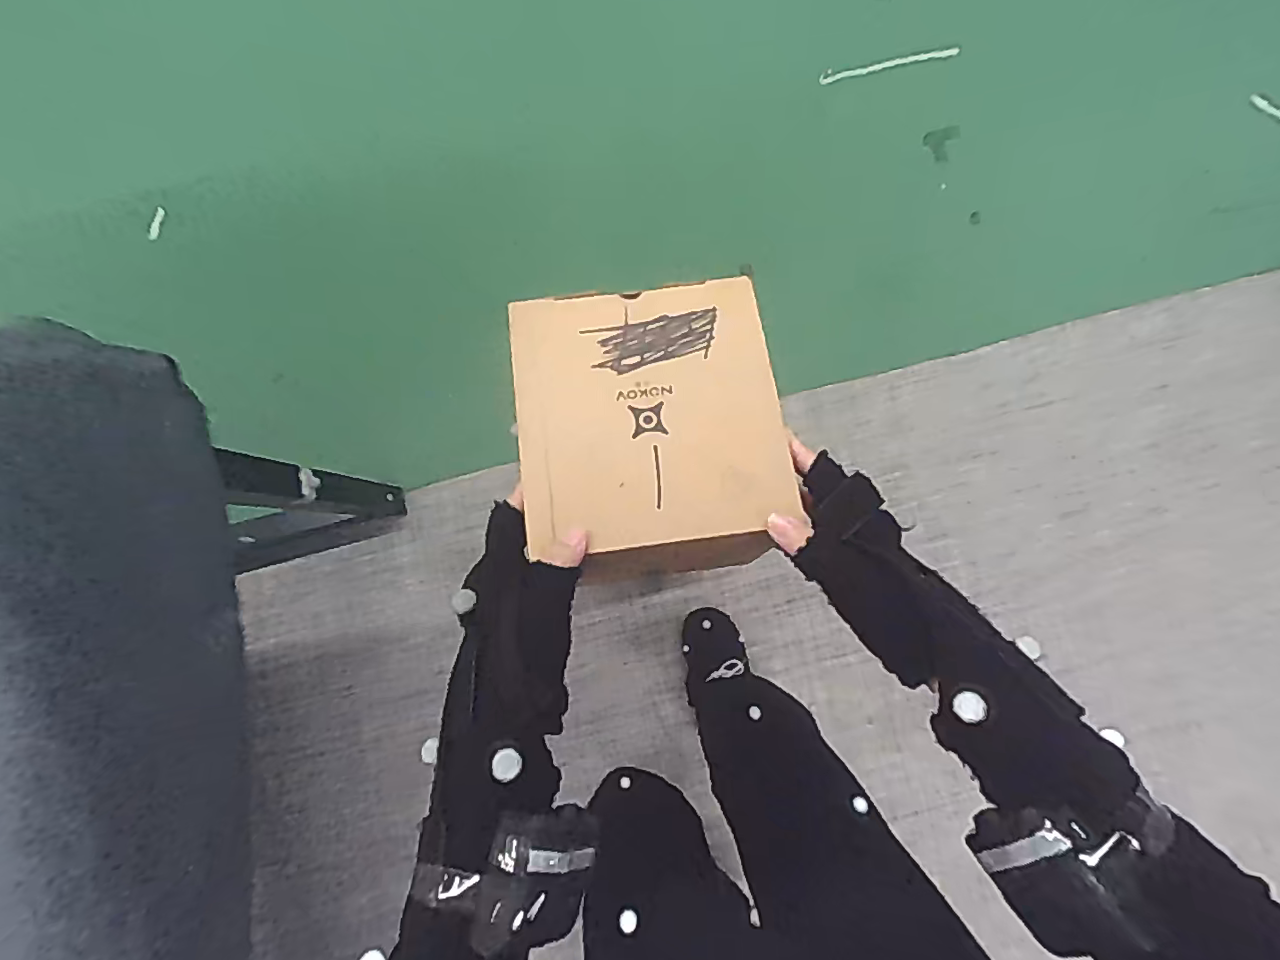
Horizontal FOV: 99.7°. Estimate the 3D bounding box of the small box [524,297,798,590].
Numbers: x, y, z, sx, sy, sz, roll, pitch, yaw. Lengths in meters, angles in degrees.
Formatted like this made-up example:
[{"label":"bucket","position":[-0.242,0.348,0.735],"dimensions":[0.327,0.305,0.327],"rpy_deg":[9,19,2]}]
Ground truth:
[{"label":"small box","position":[0.007,-0.016,0.429],"dimensions":[0.168,0.176,0.179],"rpy_deg":[-6,73,-1]}]
